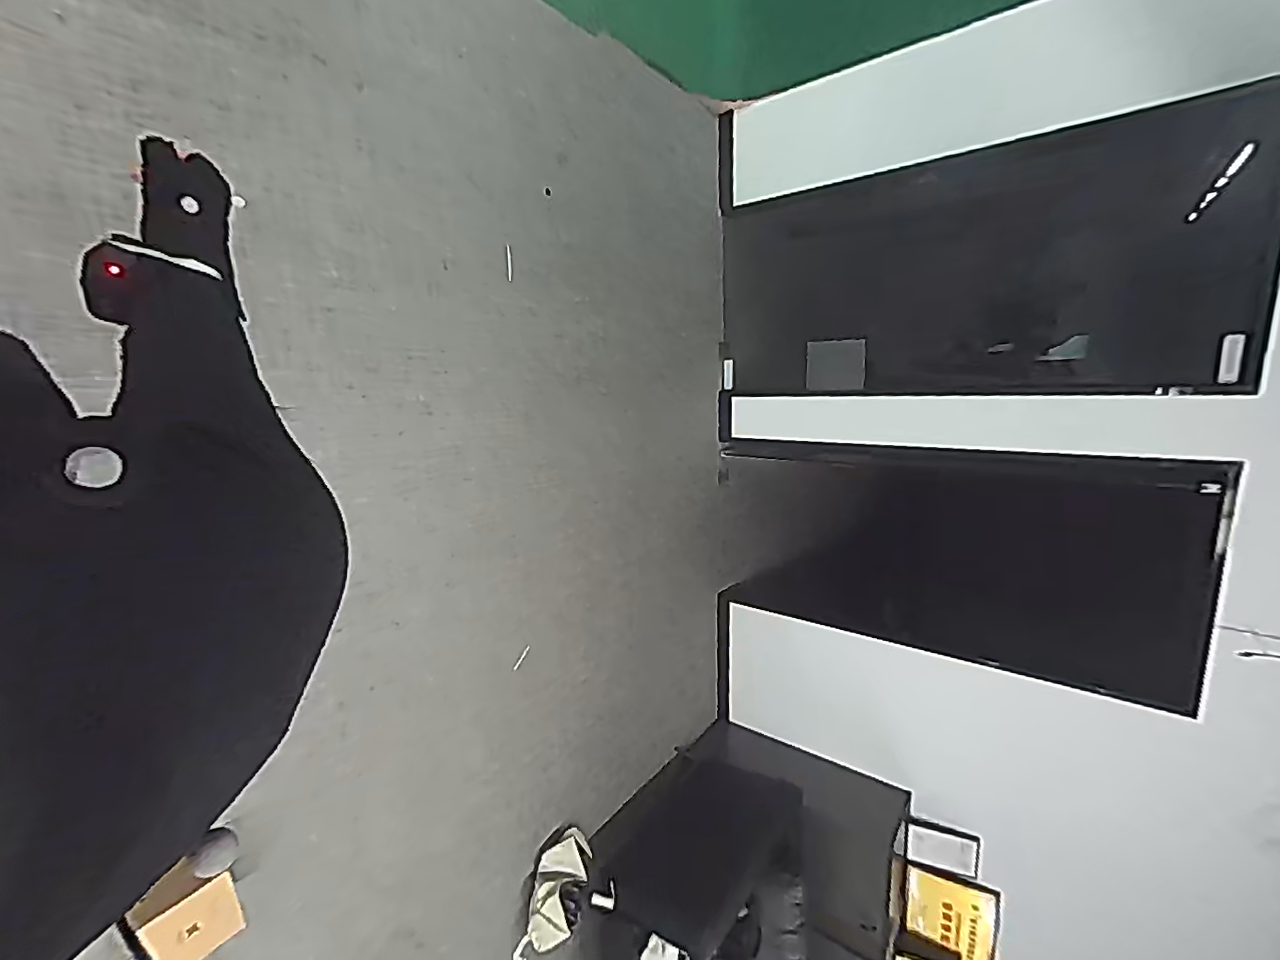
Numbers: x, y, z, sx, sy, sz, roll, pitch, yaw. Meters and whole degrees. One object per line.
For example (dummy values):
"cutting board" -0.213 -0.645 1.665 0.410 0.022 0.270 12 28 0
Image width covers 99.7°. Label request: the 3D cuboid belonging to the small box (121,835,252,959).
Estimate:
"small box" -1.000 0.940 1.189 0.179 0.176 0.168 -22 113 -50
